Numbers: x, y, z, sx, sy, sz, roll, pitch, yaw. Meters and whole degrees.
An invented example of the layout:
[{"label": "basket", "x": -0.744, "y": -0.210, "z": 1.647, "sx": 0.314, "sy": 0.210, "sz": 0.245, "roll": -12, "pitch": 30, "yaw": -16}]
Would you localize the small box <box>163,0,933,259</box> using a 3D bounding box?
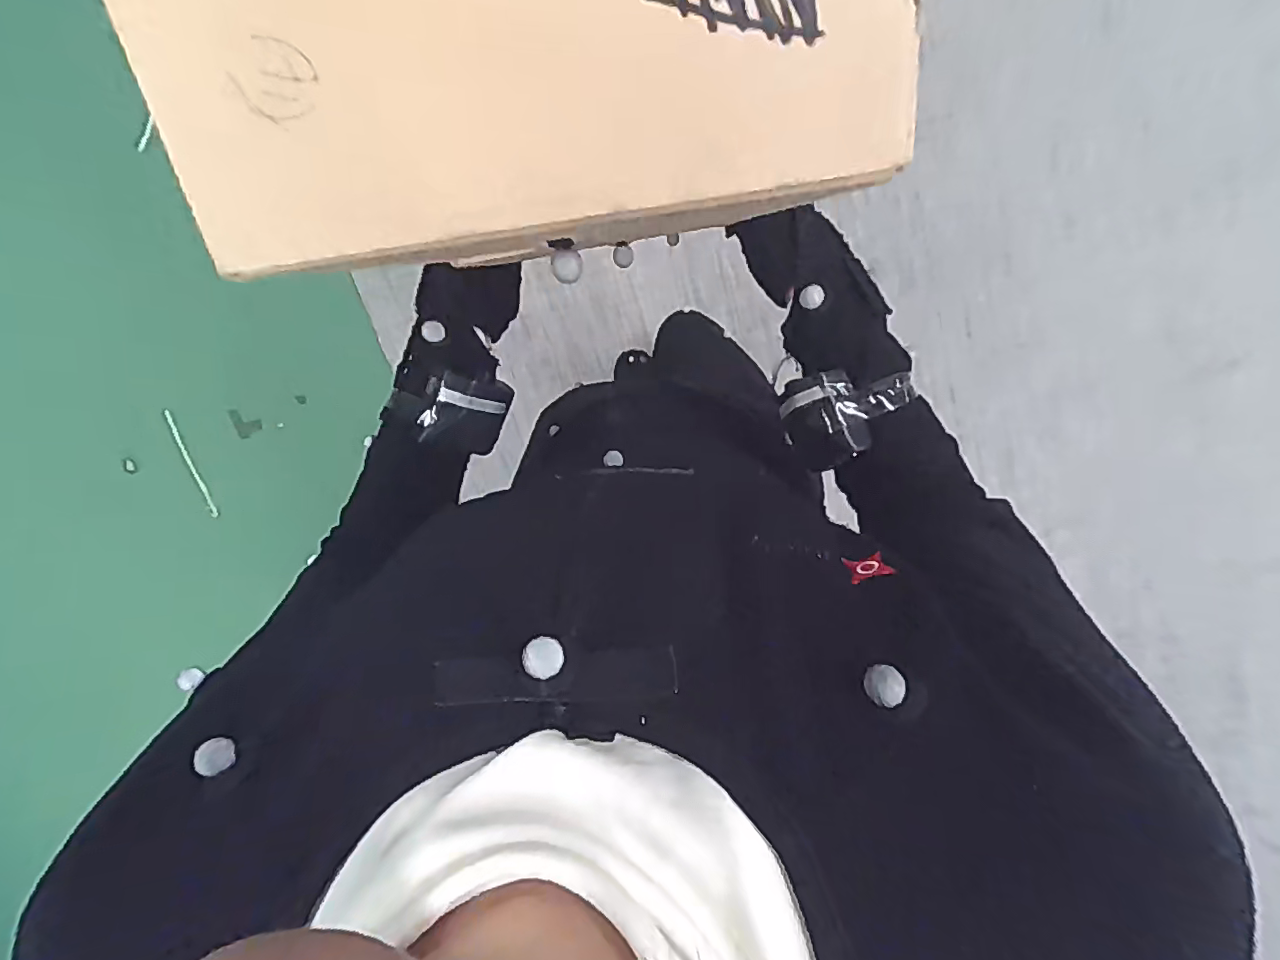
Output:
[{"label": "small box", "x": -0.029, "y": -0.179, "z": 0.179, "sx": 0.179, "sy": 0.176, "sz": 0.168, "roll": -10, "pitch": 114, "yaw": 4}]
